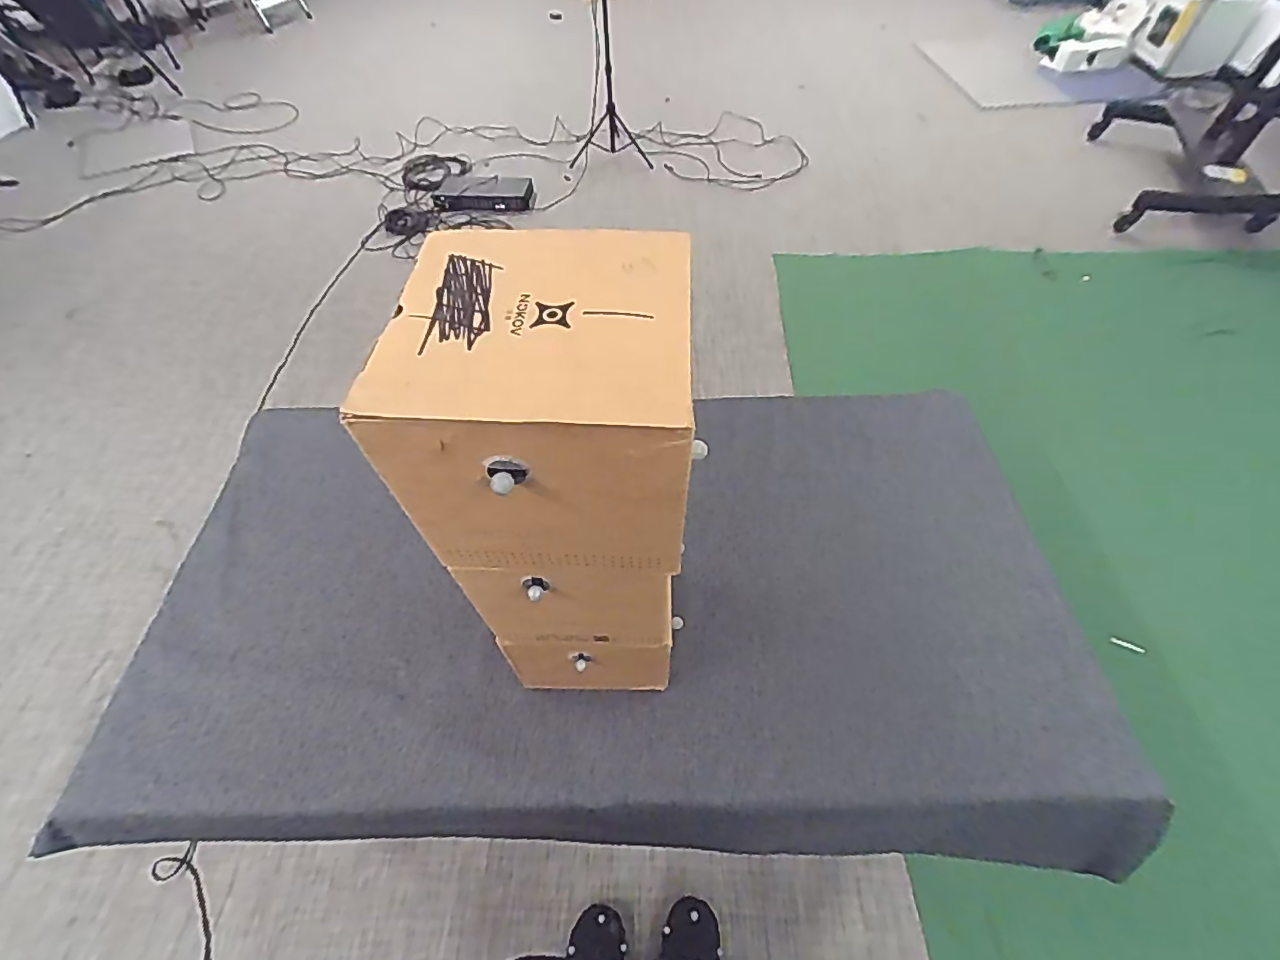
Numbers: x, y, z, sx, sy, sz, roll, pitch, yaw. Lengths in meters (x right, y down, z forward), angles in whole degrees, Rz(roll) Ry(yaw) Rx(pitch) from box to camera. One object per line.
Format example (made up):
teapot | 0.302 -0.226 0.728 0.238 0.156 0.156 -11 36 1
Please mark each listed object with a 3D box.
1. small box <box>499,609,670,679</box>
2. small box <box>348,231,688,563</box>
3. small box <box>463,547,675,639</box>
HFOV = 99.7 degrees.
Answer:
small box | -0.053 0.135 0.653 0.179 0.176 0.168 0 55 1
small box | -0.058 -0.051 0.383 0.179 0.176 0.168 2 56 2
small box | -0.054 0.040 0.523 0.168 0.176 0.179 -1 56 0
